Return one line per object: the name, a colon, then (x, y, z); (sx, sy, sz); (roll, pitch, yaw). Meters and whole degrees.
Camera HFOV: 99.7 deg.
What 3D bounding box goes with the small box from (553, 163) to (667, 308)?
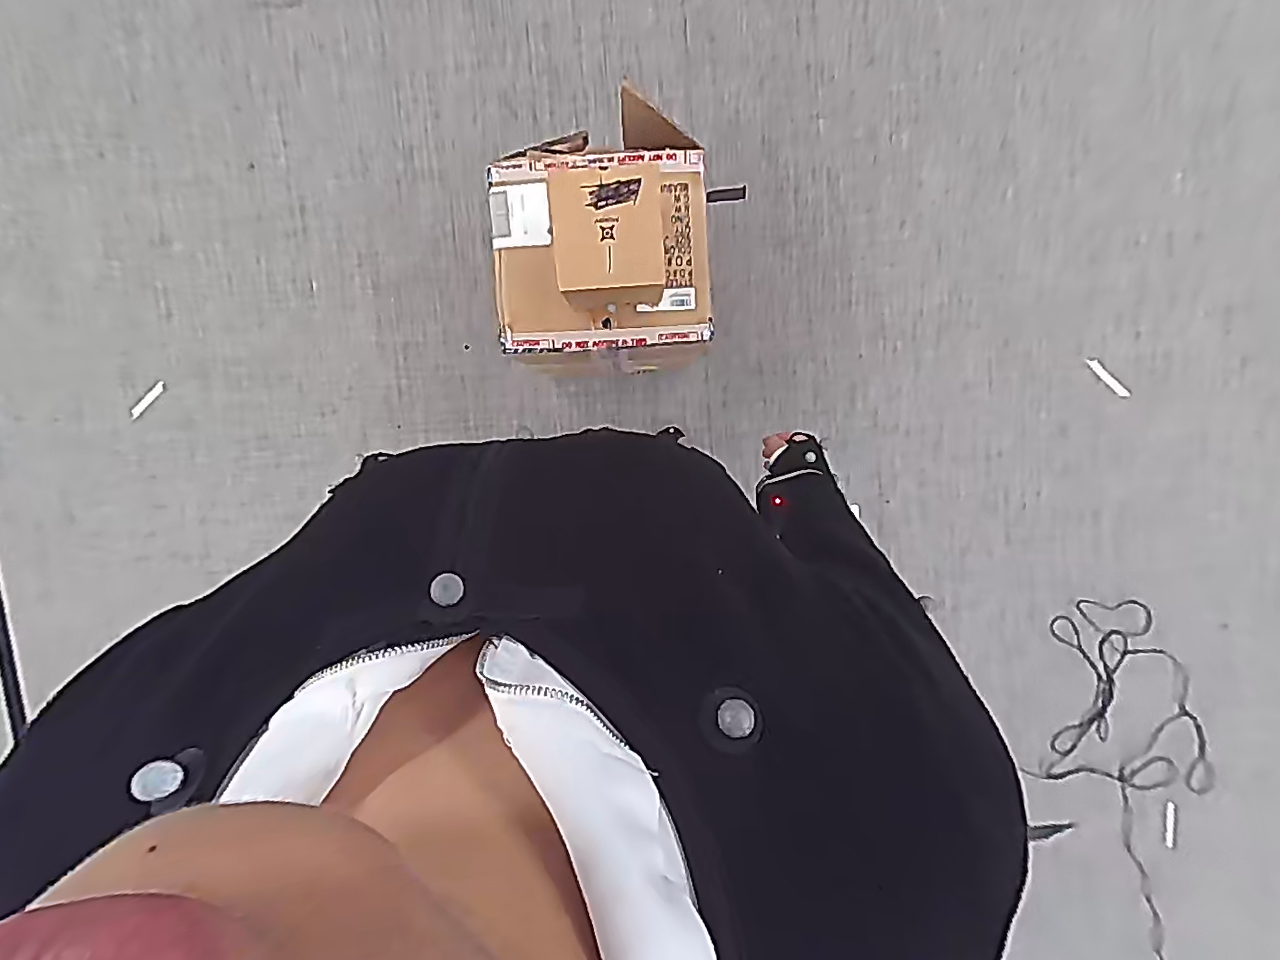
small box: (-0.045, -0.389, 0.886); (0.168, 0.176, 0.179); (-4, 99, 0)
